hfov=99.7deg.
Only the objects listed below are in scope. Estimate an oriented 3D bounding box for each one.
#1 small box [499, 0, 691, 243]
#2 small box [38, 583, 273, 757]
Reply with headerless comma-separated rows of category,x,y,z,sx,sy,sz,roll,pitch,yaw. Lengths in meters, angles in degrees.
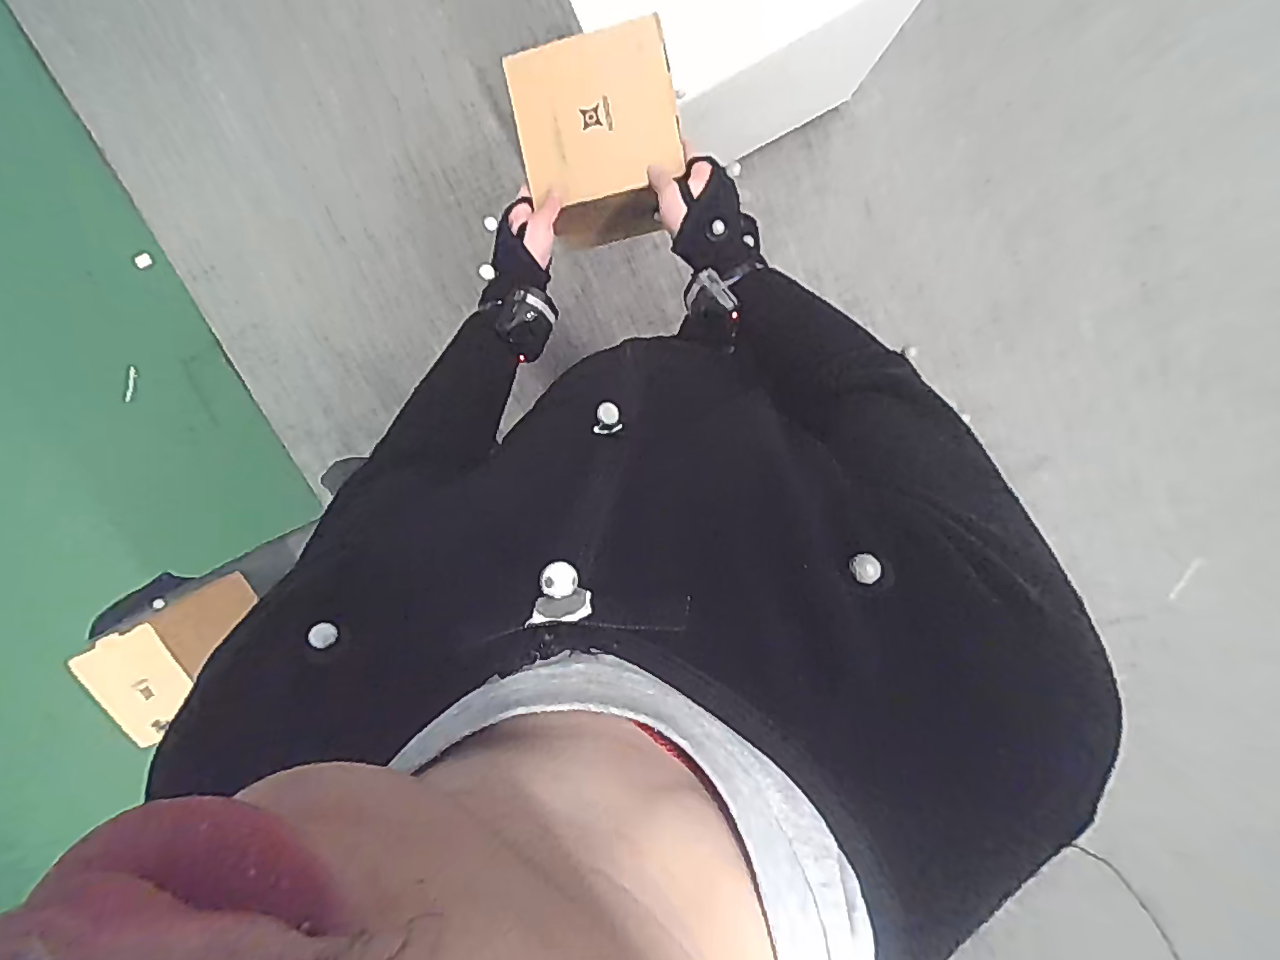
small box,-0.039,-0.402,0.637,0.179,0.176,0.168,-11,96,8
small box,-0.734,0.280,0.841,0.168,0.176,0.179,-23,103,9
